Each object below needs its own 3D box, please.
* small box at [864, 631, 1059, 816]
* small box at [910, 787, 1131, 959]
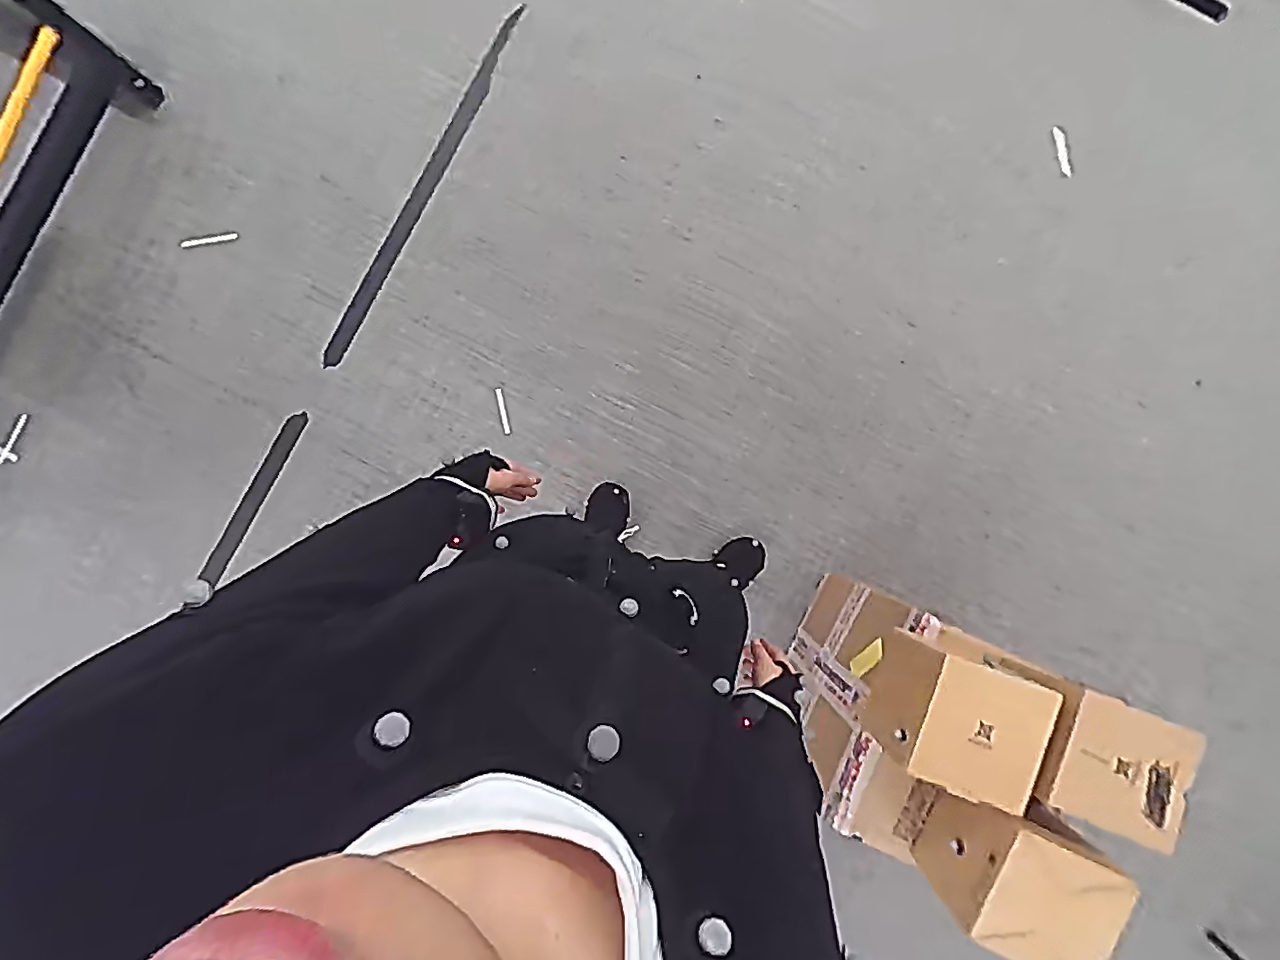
[{"bbox_3d":[0.463,0.347,0.809,0.168,0.176,0.179,20,89,3],"label":"small box"},{"bbox_3d":[0.546,0.574,0.795,0.179,0.176,0.168,25,91,2],"label":"small box"}]
